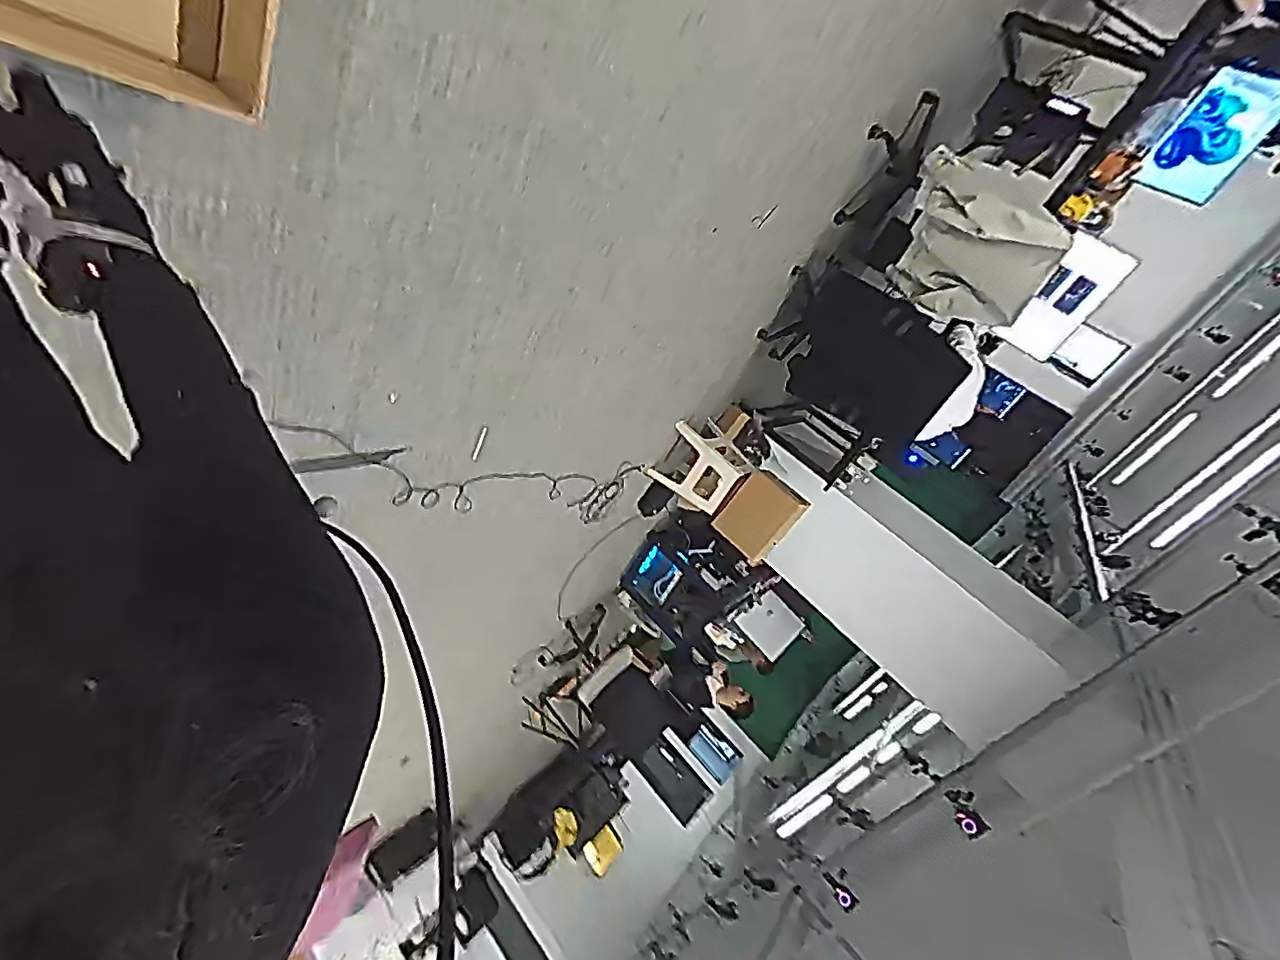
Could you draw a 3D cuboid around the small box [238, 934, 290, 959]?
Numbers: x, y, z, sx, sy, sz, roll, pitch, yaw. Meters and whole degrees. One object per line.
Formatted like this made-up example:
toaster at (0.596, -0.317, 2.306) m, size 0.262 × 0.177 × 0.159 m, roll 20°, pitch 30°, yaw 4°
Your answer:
small box at (-1.001, 1.337, 1.400) m, size 0.168 × 0.176 × 0.179 m, roll -19°, pitch 144°, yaw -50°
